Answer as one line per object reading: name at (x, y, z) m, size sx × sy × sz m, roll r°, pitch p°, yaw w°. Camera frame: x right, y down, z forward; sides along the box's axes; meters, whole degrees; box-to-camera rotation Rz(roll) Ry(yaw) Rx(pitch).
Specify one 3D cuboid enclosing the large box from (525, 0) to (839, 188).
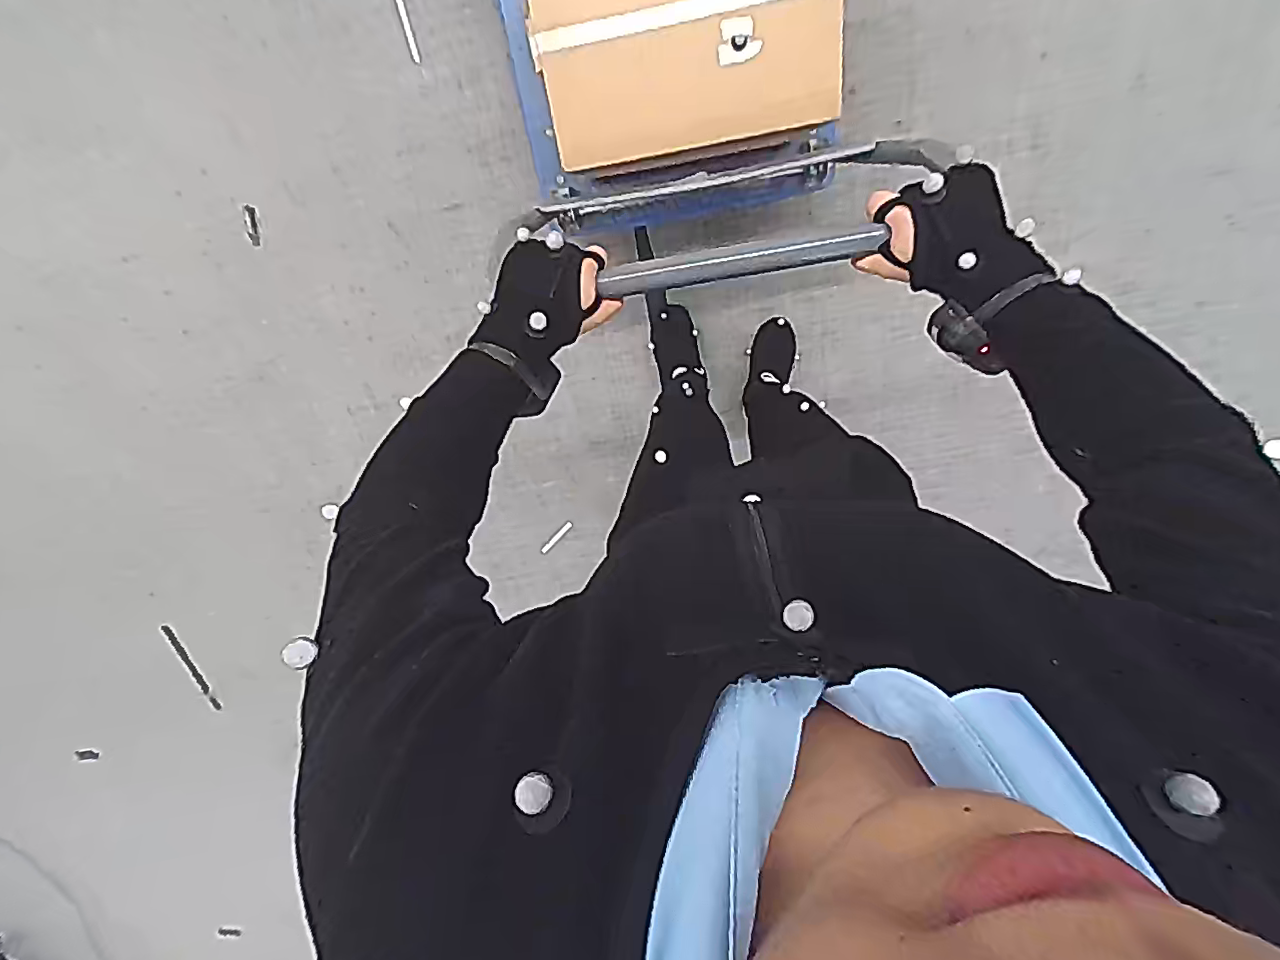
large box at (0.057, -0.669, 0.841) m, size 0.408 × 0.320 × 0.320 m, roll -9°, pitch 118°, yaw 5°
